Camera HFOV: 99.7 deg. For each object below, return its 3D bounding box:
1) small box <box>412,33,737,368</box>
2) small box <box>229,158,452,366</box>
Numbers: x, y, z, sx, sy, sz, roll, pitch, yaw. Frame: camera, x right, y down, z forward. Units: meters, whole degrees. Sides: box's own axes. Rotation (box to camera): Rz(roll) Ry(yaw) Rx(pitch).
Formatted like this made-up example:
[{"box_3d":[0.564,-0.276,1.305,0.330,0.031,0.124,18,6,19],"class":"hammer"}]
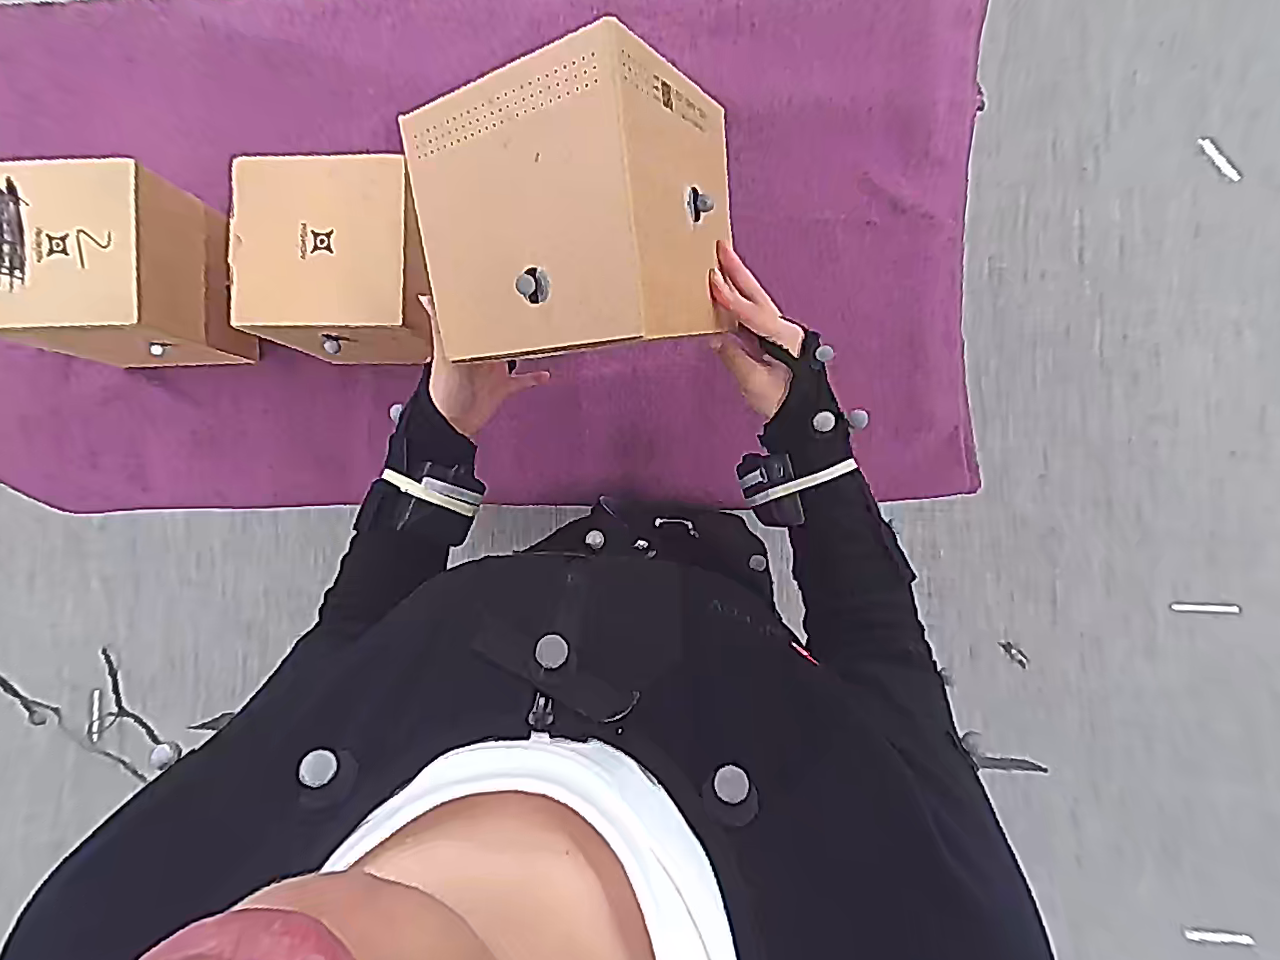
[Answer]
[{"box_3d":[-0.042,-0.185,0.405,0.179,0.168,0.176,1,106,30],"class":"small box"},{"box_3d":[-0.305,-0.225,0.598,0.179,0.176,0.168,1,90,3],"class":"small box"}]
